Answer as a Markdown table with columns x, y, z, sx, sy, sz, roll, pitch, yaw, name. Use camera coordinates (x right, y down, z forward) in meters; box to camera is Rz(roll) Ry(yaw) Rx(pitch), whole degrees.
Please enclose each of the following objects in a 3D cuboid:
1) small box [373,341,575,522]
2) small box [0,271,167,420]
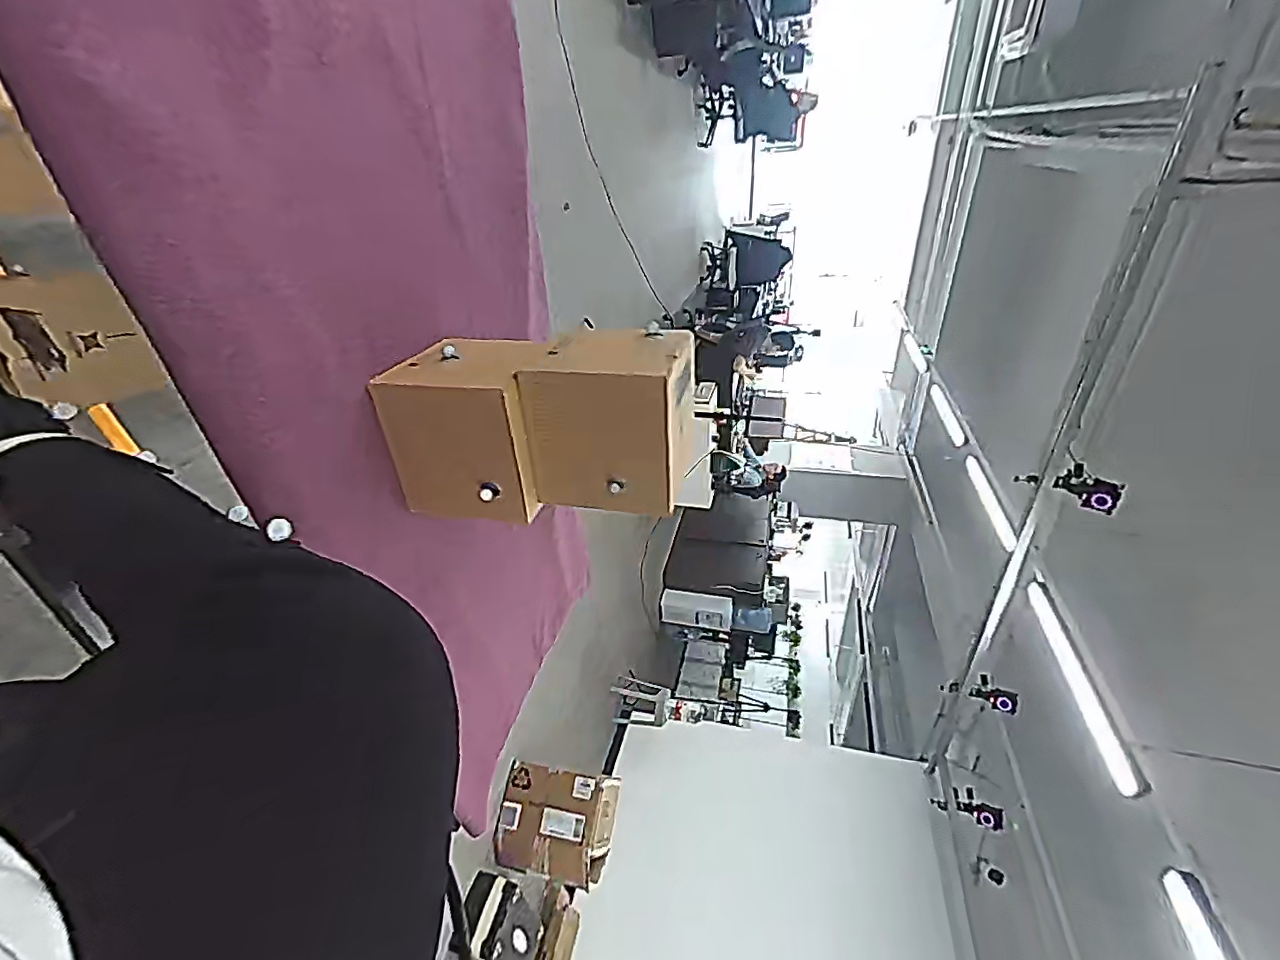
| x | y | z | sx | sy | sz | roll | pitch | yaw | name |
| --- | --- | --- | --- | --- | --- | --- | --- | --- | --- |
| -0.197 | -0.069 | 0.684 | 0.168 | 0.176 | 0.179 | -66 | 156 | -56 | small box |
| -0.818 | -0.187 | 0.730 | 0.179 | 0.176 | 0.168 | -59 | 151 | -60 | small box |
